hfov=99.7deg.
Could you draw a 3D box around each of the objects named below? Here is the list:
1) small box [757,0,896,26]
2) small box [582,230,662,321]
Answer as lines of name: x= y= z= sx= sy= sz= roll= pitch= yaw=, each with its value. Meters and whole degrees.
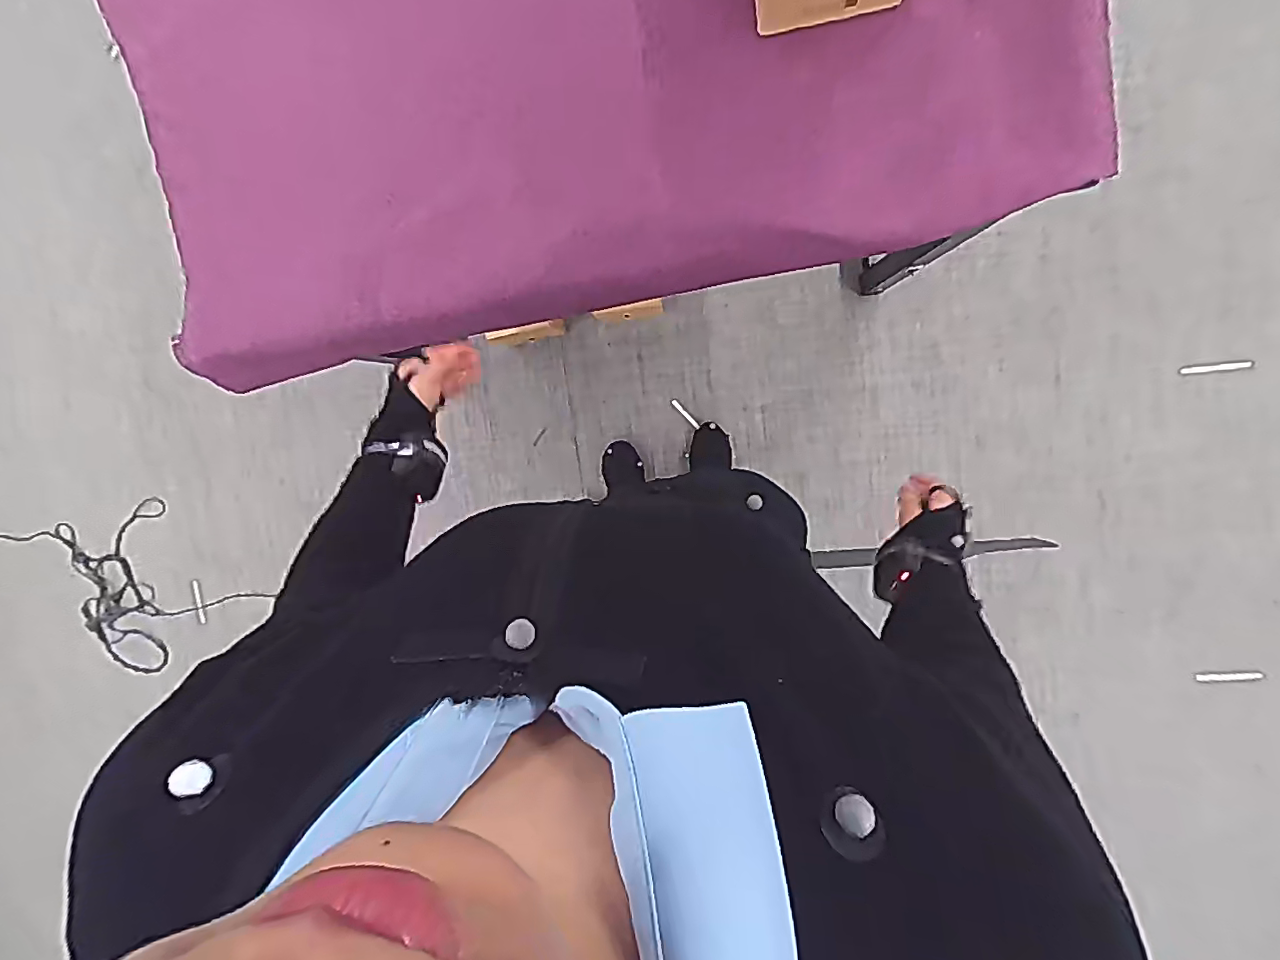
small box: x=0.208 y=-0.625 z=0.567 sx=0.168 sy=0.176 sz=0.179 roll=-7 pitch=96 yaw=8
small box: x=-0.039 y=-0.499 z=1.348 sx=0.168 sy=0.176 sz=0.179 roll=-6 pitch=97 yaw=6
